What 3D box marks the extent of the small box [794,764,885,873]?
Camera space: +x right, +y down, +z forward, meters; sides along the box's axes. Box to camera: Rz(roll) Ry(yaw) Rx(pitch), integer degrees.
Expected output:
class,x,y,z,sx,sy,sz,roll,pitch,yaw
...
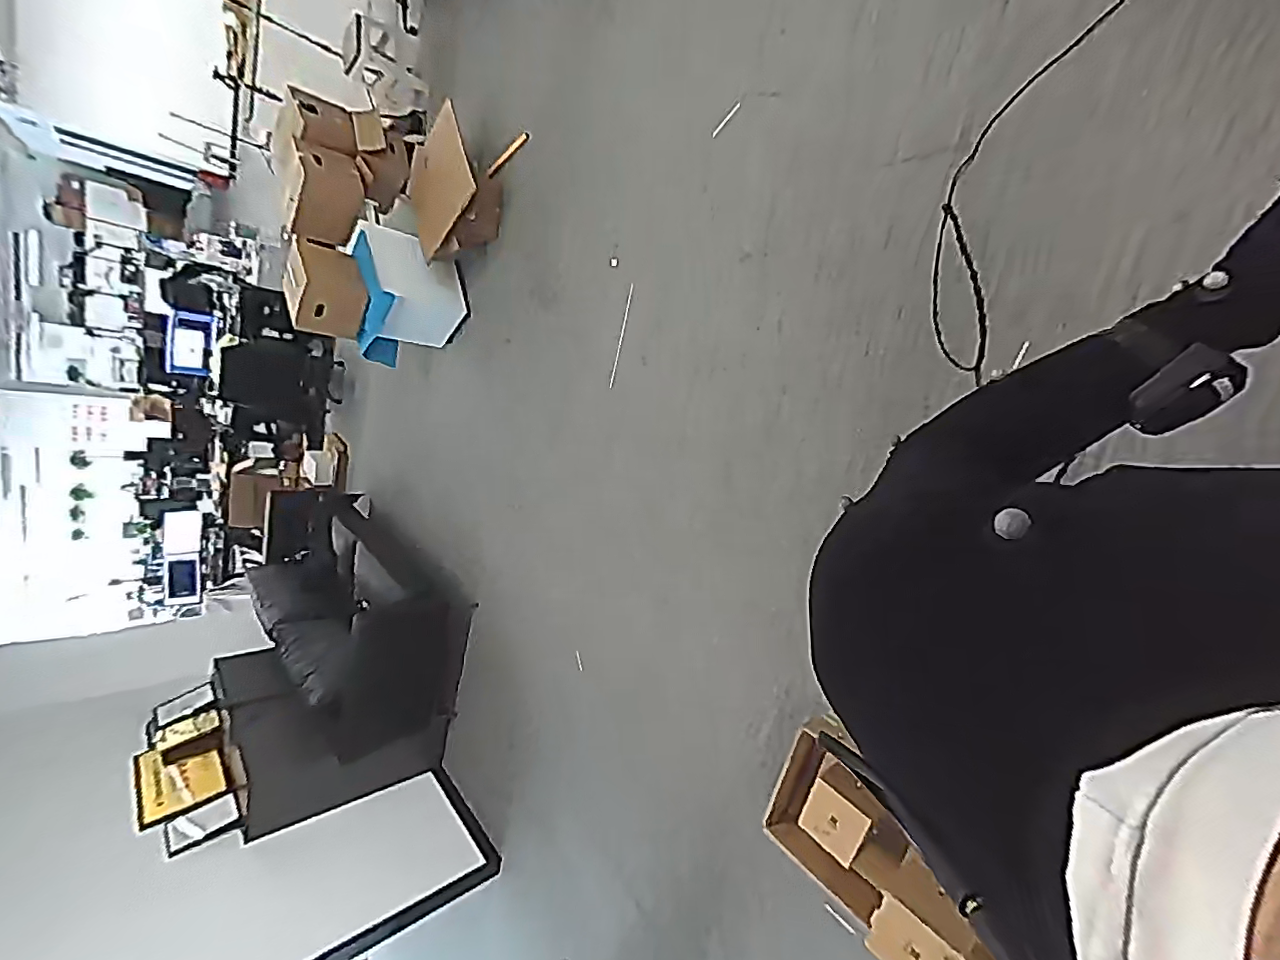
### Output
class,x,y,z,sx,sy,sz,roll,pitch,yaw
small box,0.579,0.963,1.559,0.168,0.176,0.179,30,110,40

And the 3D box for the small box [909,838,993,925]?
class,x,y,z,sx,sy,sz,roll,pitch,yaw
small box,0.765,1.063,1.372,0.168,0.176,0.179,29,110,42

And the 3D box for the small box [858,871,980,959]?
class,x,y,z,sx,sy,sz,roll,pitch,yaw
small box,0.648,1.057,1.257,0.179,0.176,0.168,28,109,43
